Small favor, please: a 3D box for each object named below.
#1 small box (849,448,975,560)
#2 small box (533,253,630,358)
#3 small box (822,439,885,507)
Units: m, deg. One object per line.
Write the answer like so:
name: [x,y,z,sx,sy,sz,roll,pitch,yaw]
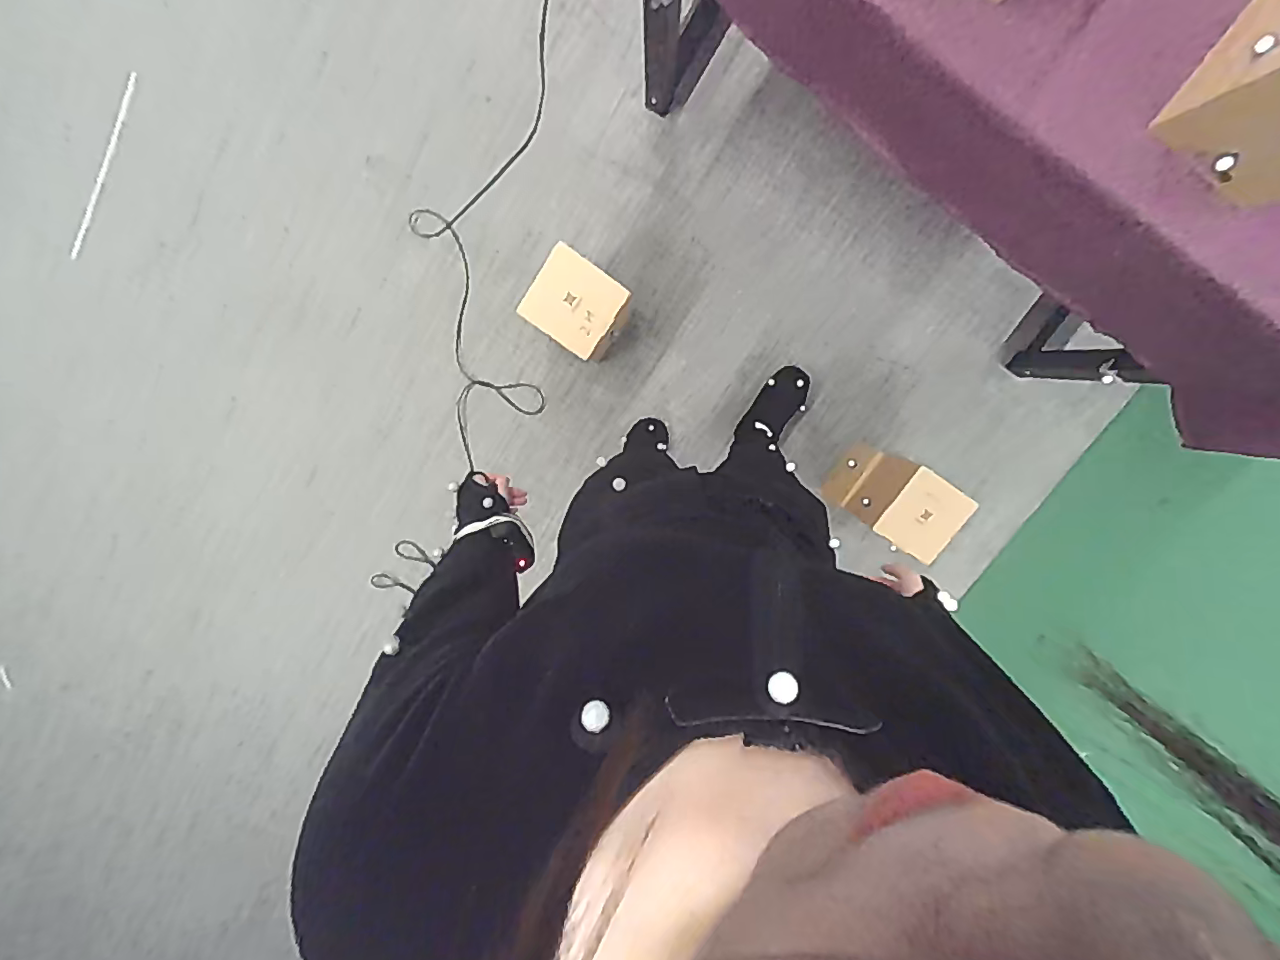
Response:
small box: [0.615,0.048,1.256,0.168,0.176,0.179,33,101,-8]
small box: [-0.133,-0.416,1.319,0.168,0.176,0.179,33,100,-7]
small box: [0.608,0.007,1.413,0.179,0.176,0.168,30,102,-7]
